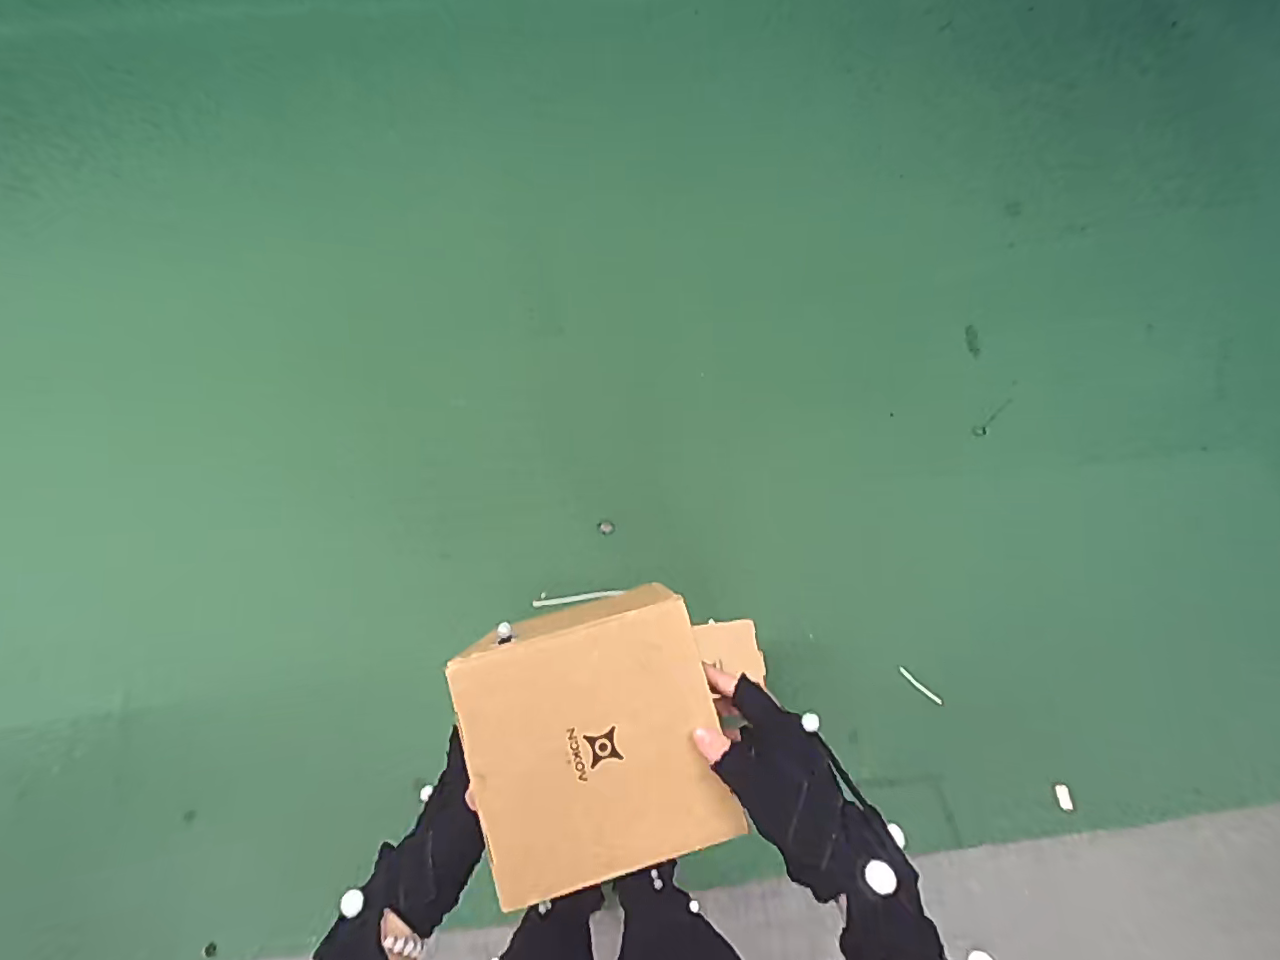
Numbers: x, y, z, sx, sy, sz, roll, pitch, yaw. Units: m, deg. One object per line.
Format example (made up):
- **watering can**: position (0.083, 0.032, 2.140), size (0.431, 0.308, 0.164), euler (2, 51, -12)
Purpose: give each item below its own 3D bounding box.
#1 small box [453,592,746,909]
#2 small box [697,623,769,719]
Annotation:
- **small box**: position (-0.034, 0.197, 0.453), size (0.179, 0.176, 0.168), euler (-14, 83, -5)
- **small box**: position (0.139, 0.386, 1.084), size (0.179, 0.176, 0.168), euler (-6, 69, -4)
